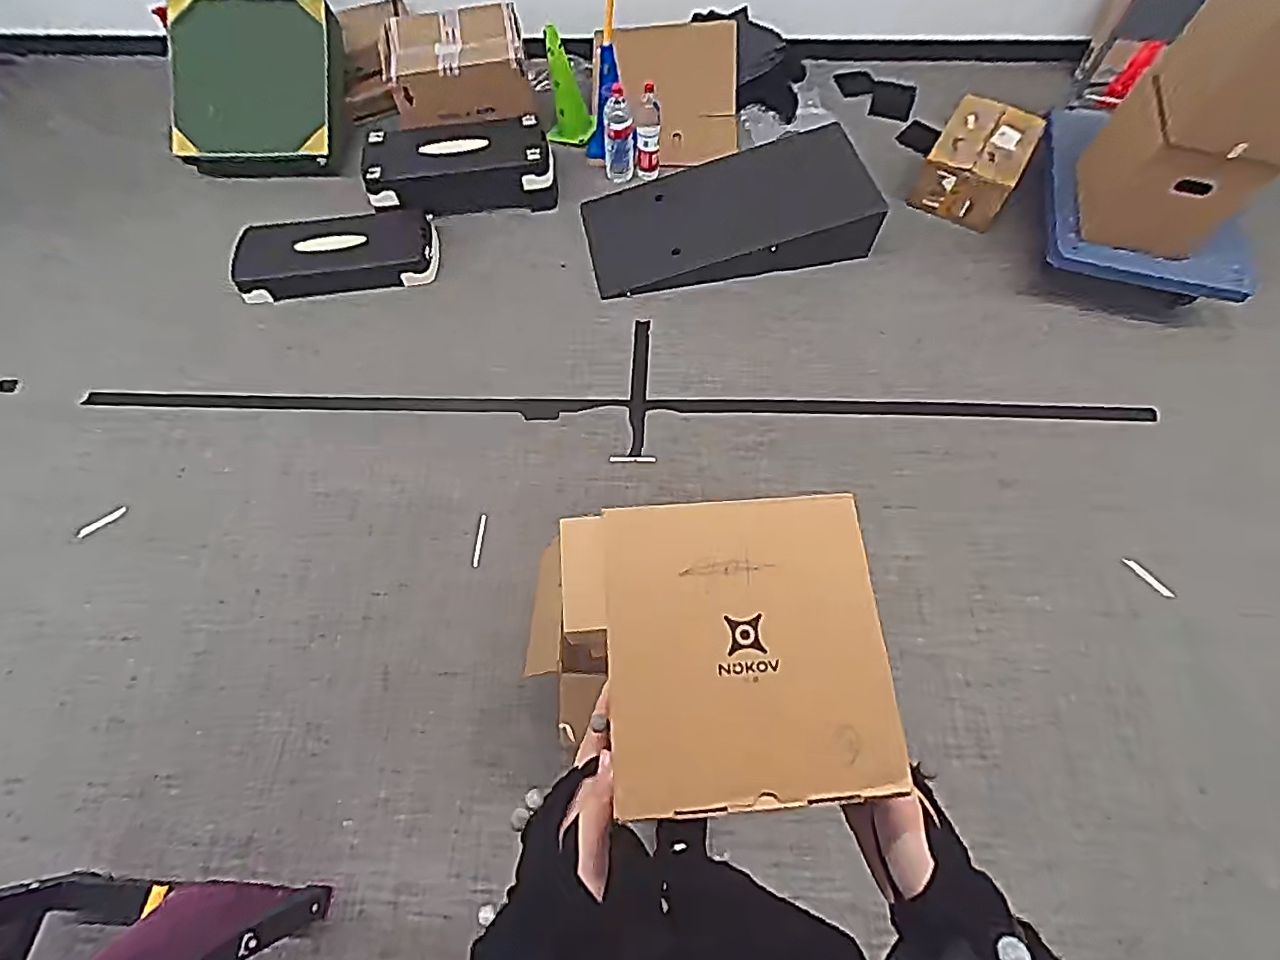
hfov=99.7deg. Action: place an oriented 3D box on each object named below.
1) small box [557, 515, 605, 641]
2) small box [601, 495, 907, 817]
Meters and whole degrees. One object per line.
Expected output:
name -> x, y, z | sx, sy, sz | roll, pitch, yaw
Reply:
small box -> -0.033, 0.157, 0.848 | 0.179, 0.176, 0.168 | -3, 69, -5
small box -> 0.059, 0.121, 0.395 | 0.168, 0.176, 0.179 | -3, 70, -3
